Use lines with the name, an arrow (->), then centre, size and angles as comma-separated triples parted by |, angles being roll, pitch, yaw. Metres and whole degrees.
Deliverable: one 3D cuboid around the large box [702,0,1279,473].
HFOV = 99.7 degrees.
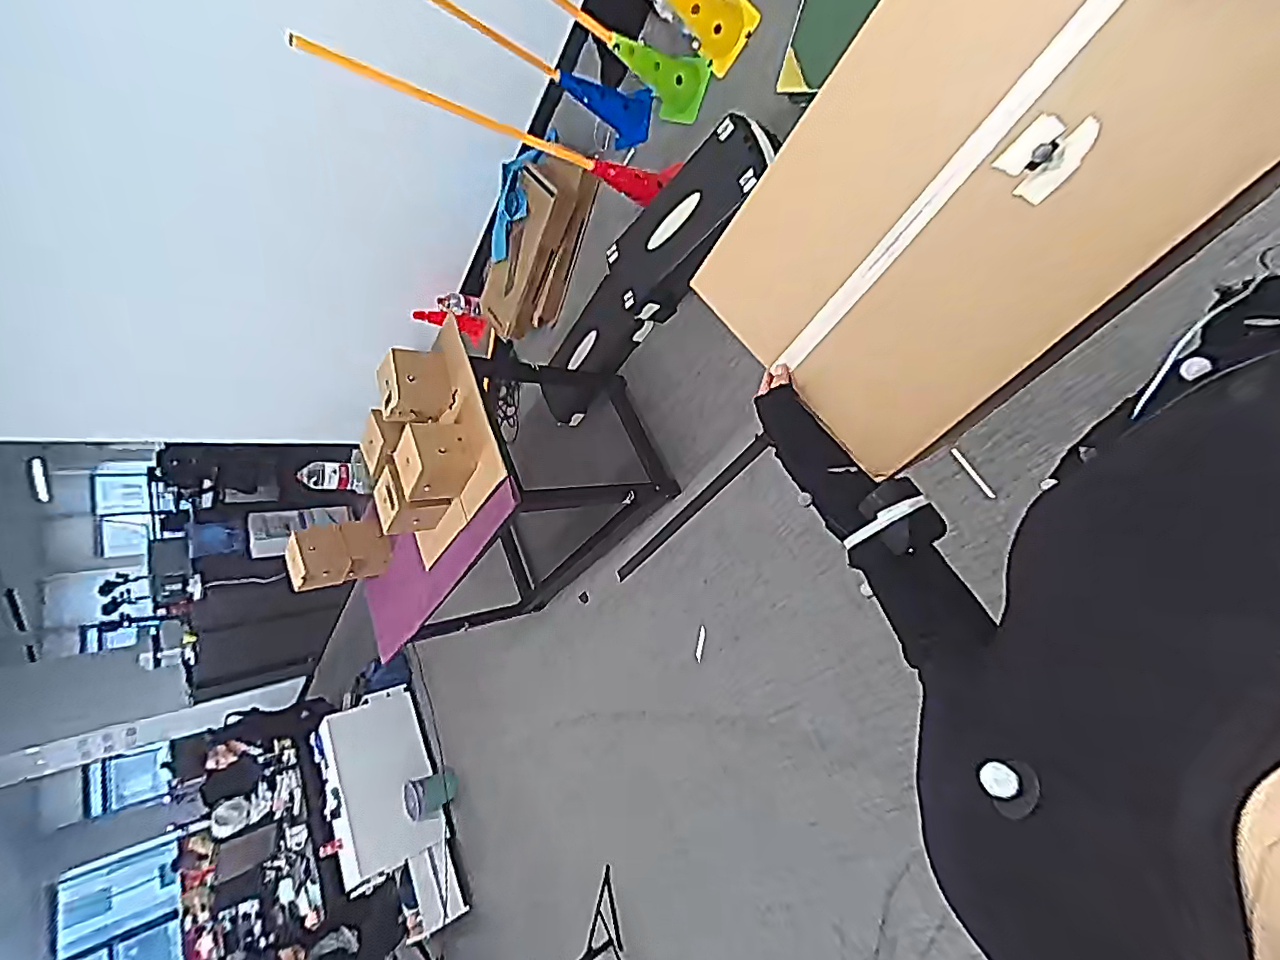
large box -> 0.351, -0.265, 0.589 | 0.320, 0.320, 0.408 | 53, 126, 18
